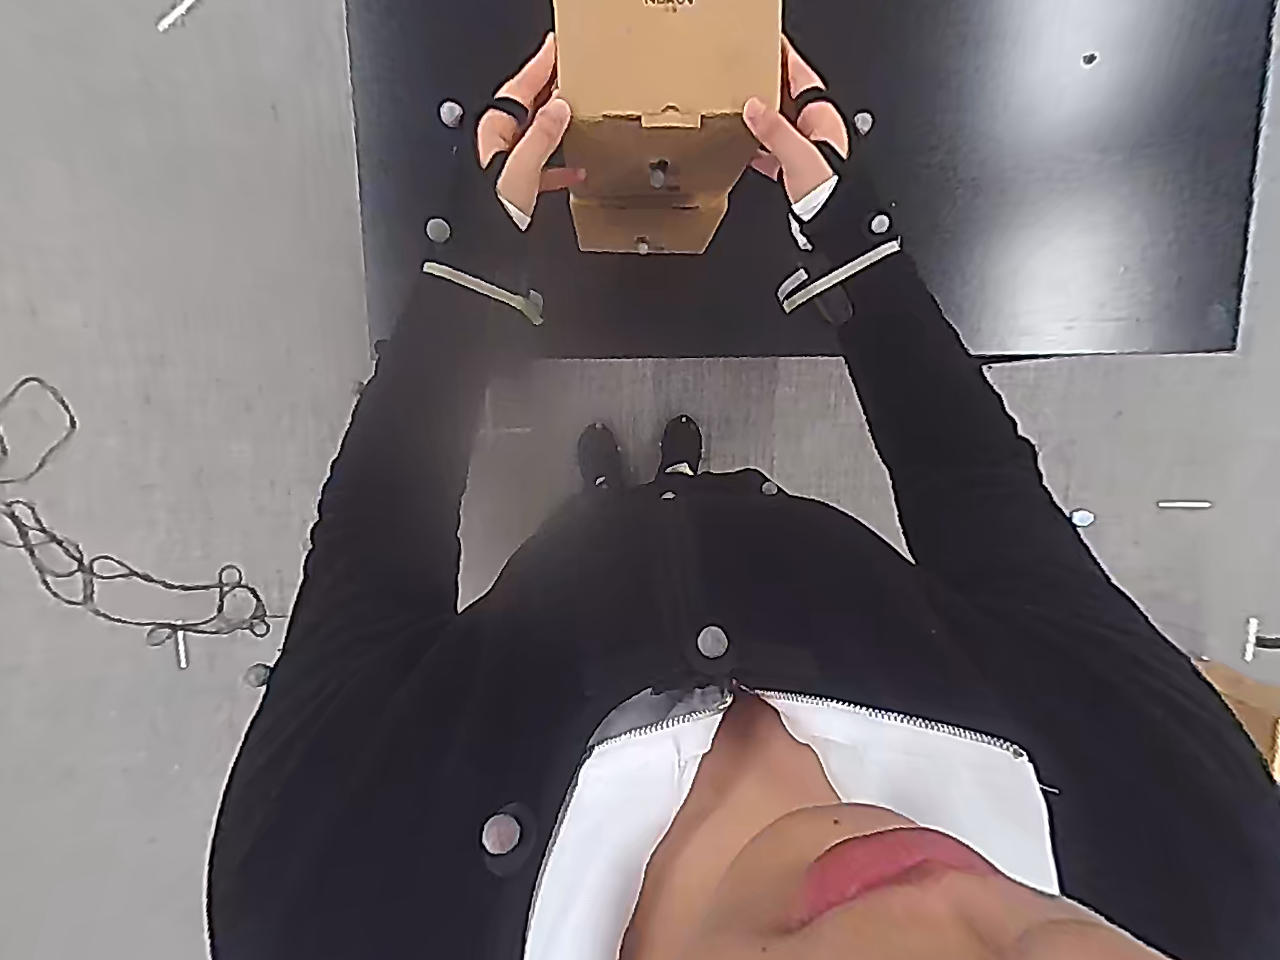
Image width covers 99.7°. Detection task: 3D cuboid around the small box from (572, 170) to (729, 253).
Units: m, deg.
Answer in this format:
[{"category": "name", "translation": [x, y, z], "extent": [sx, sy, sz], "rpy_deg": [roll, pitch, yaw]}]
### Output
[{"category": "small box", "translation": [0.008, -0.382, 0.628], "extent": [0.168, 0.176, 0.179], "rpy_deg": [0, 98, -3]}]

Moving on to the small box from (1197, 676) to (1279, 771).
[{"category": "small box", "translation": [1.628, 0.627, 1.407], "extent": [0.179, 0.176, 0.168], "rpy_deg": [-2, 97, 0]}]

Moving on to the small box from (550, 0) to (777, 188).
[{"category": "small box", "translation": [0.014, -0.366, 0.464], "extent": [0.168, 0.176, 0.179], "rpy_deg": [-3, 101, -3]}]

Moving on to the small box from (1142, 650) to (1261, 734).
[{"category": "small box", "translation": [1.620, 0.610, 1.569], "extent": [0.168, 0.176, 0.179], "rpy_deg": [2, 99, -2]}]
